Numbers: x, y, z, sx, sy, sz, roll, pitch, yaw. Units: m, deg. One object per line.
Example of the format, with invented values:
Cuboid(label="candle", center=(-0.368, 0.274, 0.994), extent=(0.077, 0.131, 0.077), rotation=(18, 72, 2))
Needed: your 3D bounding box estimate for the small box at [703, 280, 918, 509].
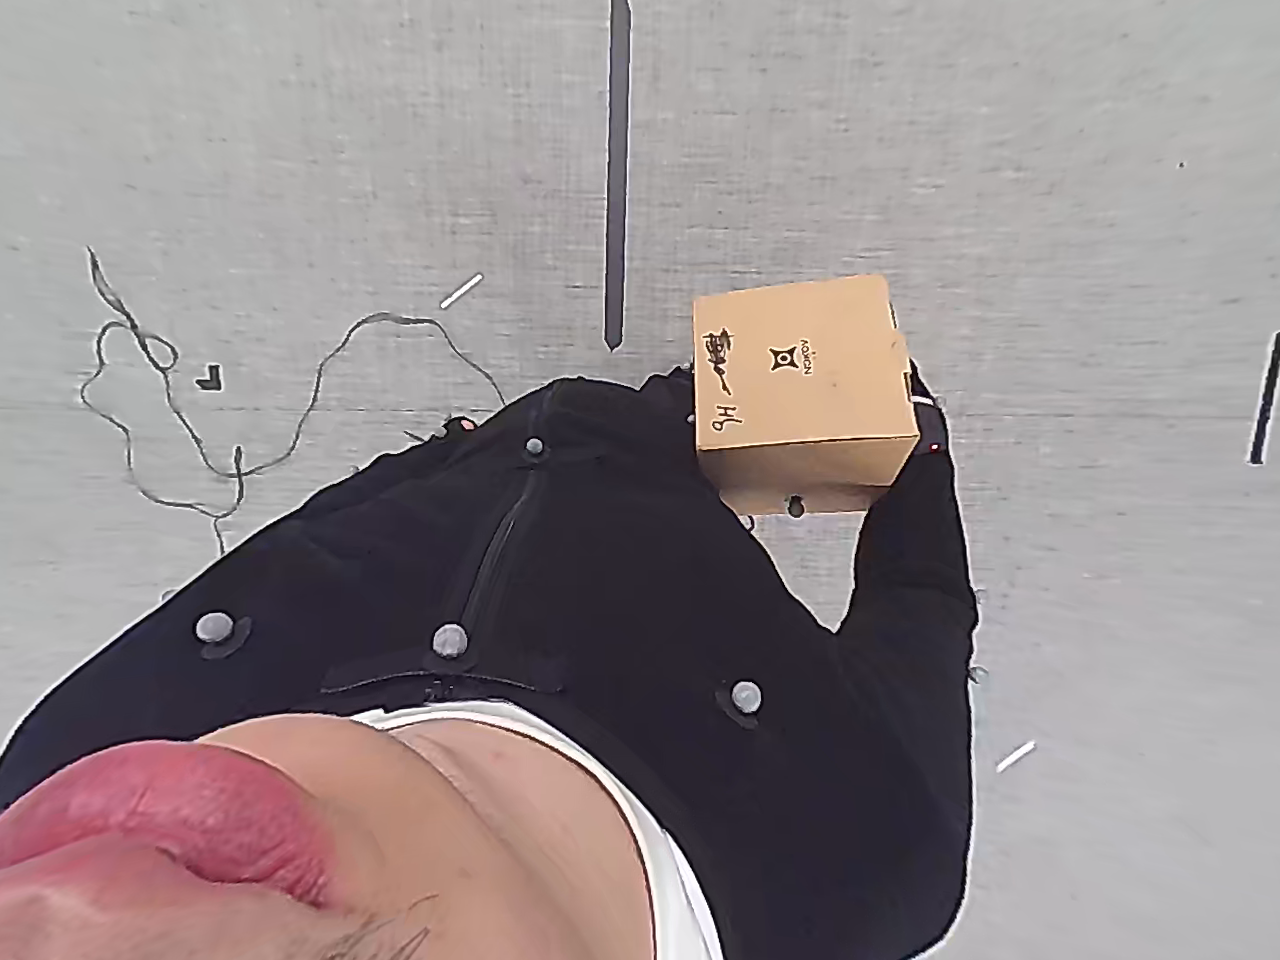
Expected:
Cuboid(label="small box", center=(0.157, -0.075, 0.554), extent=(0.179, 0.176, 0.168), rotation=(-3, 65, 10))
